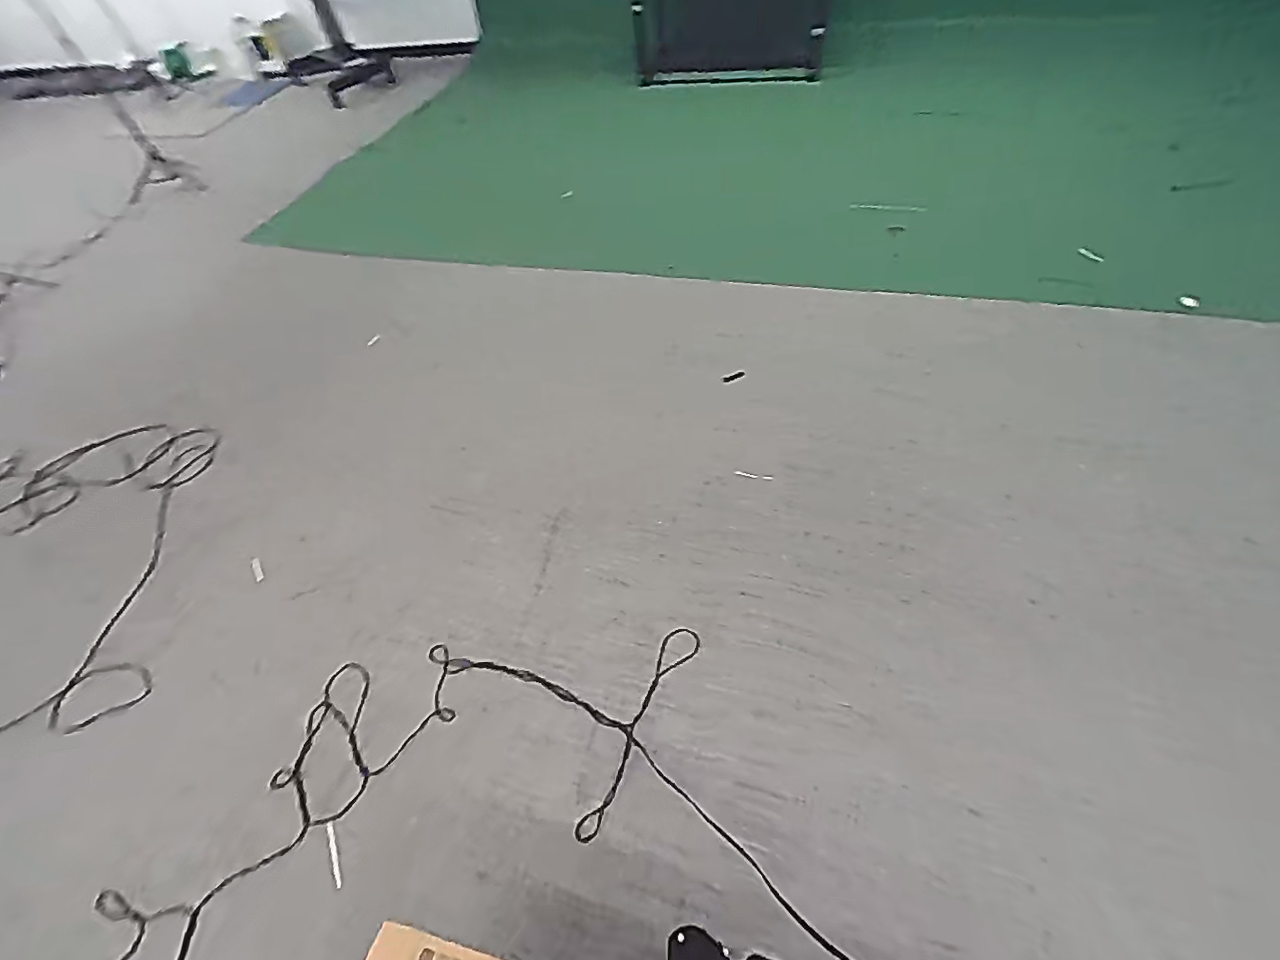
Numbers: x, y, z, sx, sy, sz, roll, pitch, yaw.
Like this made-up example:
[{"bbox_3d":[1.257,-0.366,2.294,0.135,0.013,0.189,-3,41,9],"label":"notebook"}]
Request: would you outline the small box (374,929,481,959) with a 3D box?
[{"bbox_3d":[-0.236,0.627,0.585,0.168,0.179,0.176,16,37,4],"label":"small box"}]
